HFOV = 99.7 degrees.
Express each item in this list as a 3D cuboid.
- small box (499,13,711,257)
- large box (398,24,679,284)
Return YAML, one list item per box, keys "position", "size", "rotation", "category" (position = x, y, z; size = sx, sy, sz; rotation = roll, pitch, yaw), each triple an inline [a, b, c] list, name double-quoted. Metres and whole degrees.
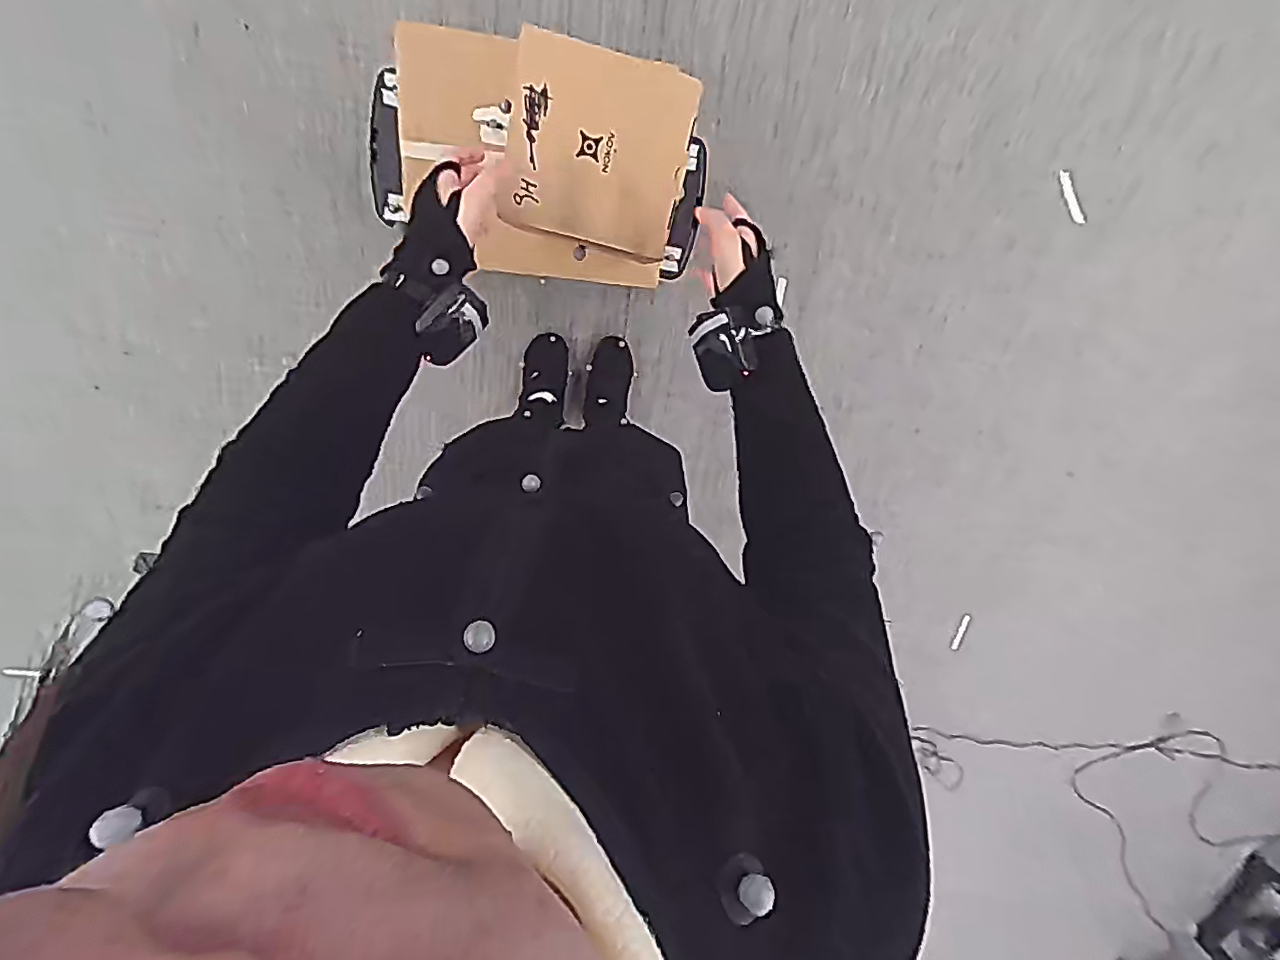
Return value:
- position: [-0.044, -0.352, 0.592]
  size: [0.179, 0.176, 0.168]
  rotation: [11, 109, -11]
  category: "small box"
- position: [-0.159, -0.530, 0.953]
  size: [0.408, 0.320, 0.320]
  rotation: [4, 110, -6]
  category: "large box"
